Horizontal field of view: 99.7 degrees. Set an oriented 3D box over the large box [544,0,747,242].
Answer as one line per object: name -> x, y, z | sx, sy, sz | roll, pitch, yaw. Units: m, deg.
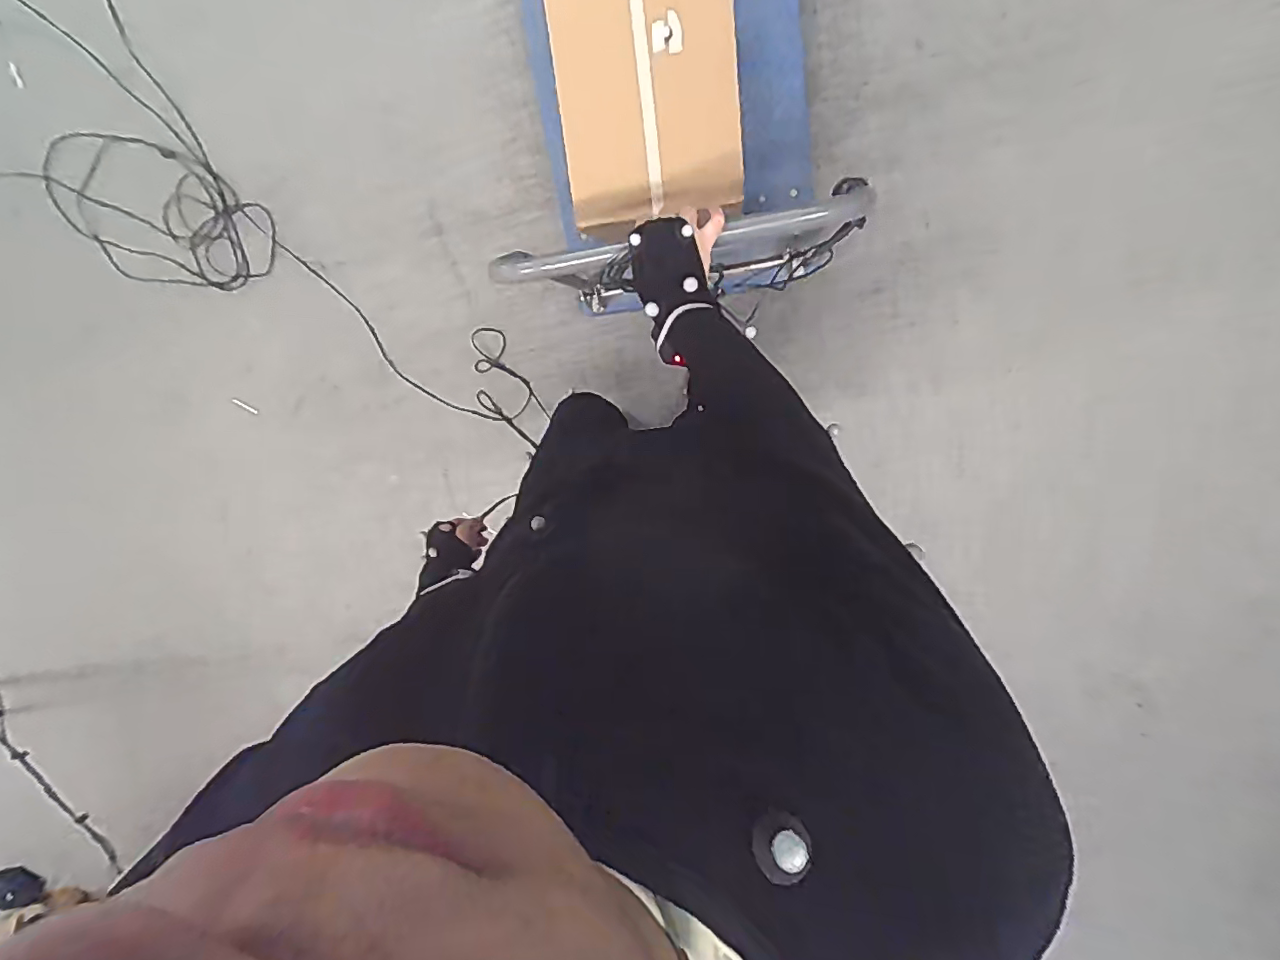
large box -> 0.033, -0.716, 1.053 | 0.320, 0.320, 0.408 | -4, 107, 10
